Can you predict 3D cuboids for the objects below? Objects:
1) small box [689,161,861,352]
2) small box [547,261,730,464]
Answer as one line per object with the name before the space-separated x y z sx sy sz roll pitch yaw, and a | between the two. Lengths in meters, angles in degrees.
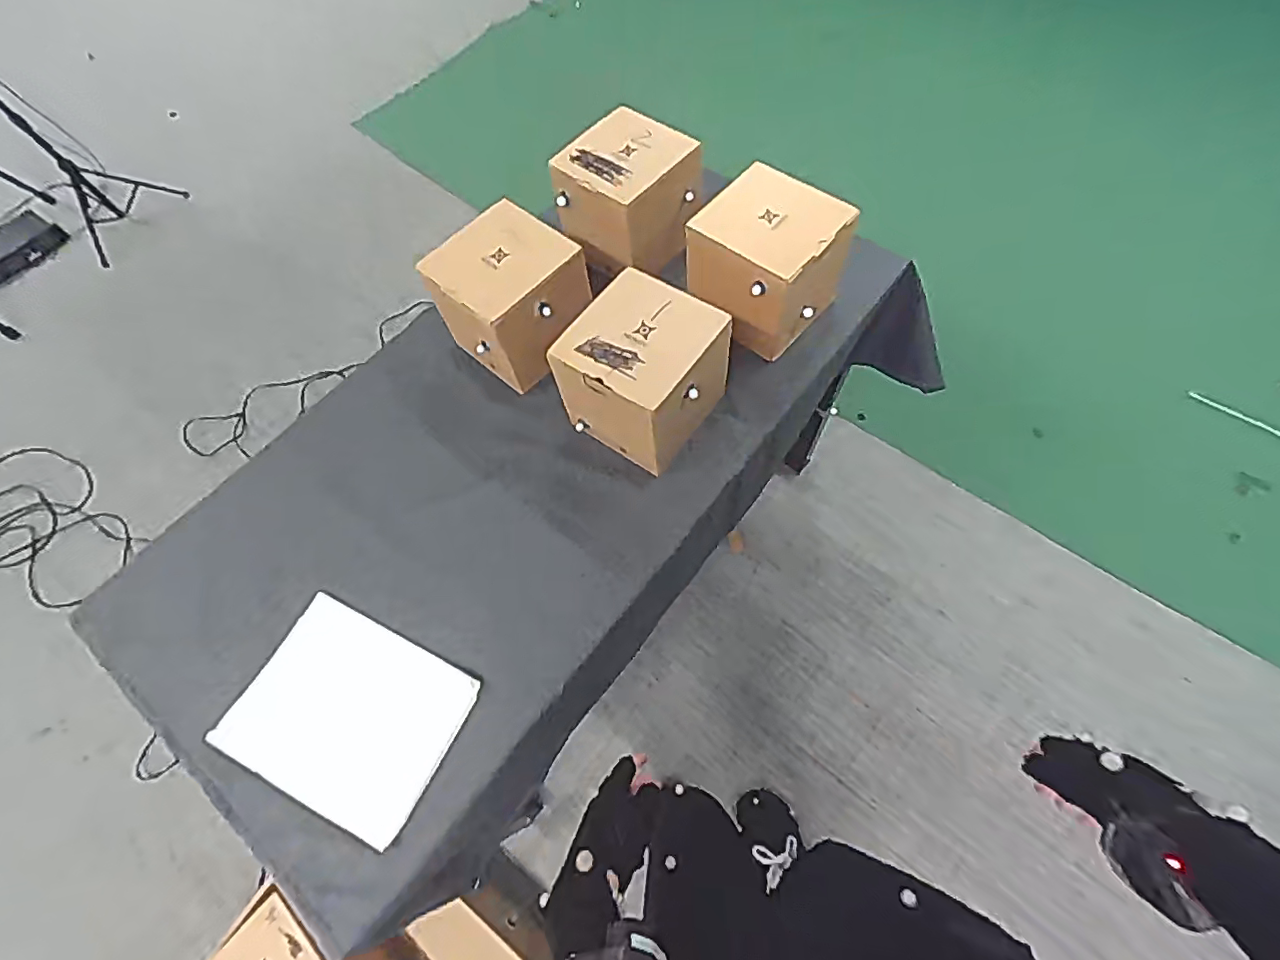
small box | 0.187 -0.326 0.808 0.179 0.176 0.168 39 73 19
small box | 0.005 -0.151 0.737 0.168 0.176 0.179 33 70 18
